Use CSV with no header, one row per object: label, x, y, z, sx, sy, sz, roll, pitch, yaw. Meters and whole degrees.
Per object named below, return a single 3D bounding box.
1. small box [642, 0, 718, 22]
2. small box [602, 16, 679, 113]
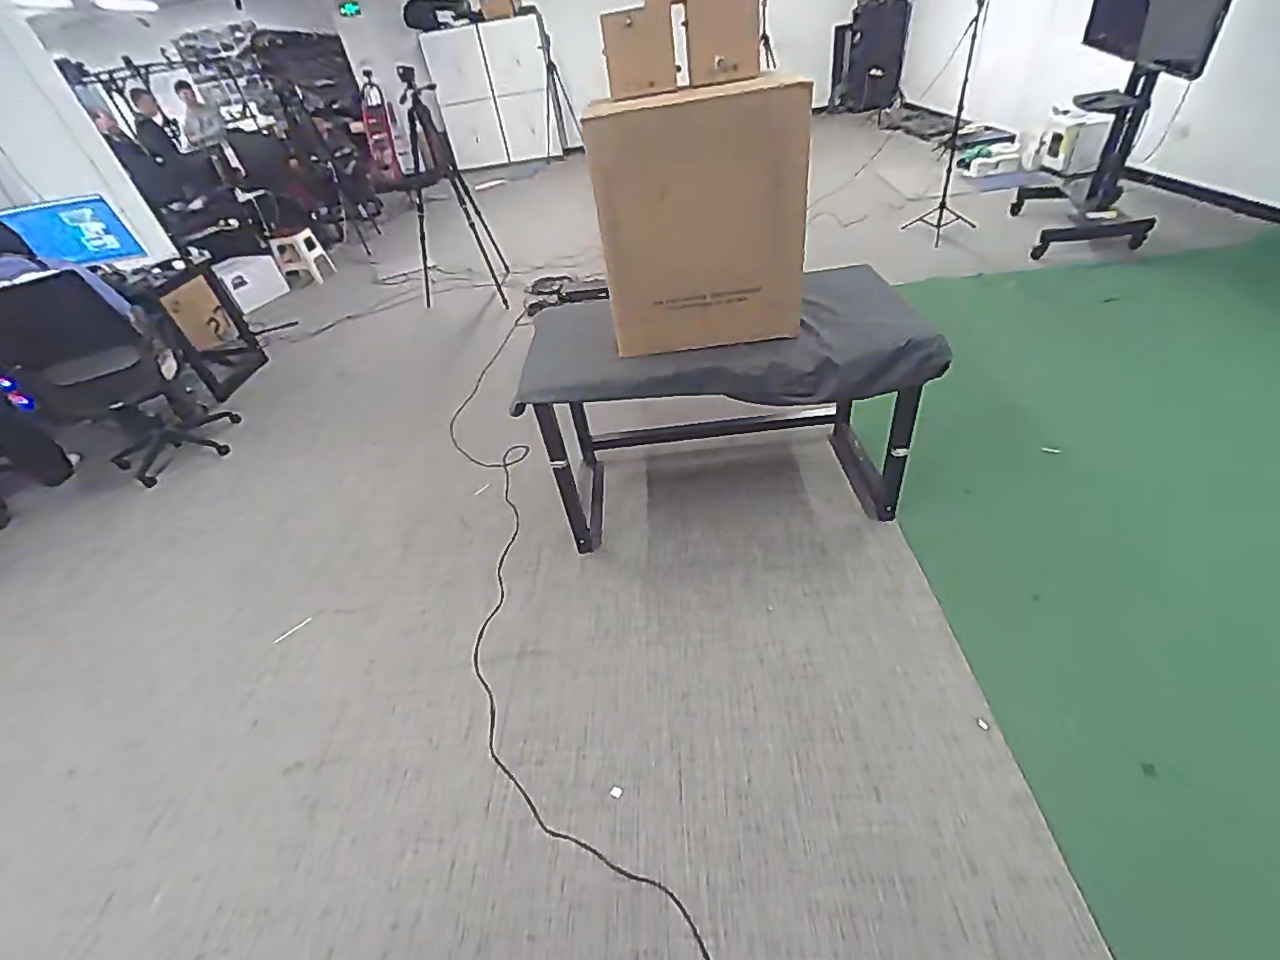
small box,0.089,-1.188,1.267,0.179,0.176,0.168,-7,37,4
small box,0.006,-1.040,1.363,0.168,0.176,0.179,-7,37,6
